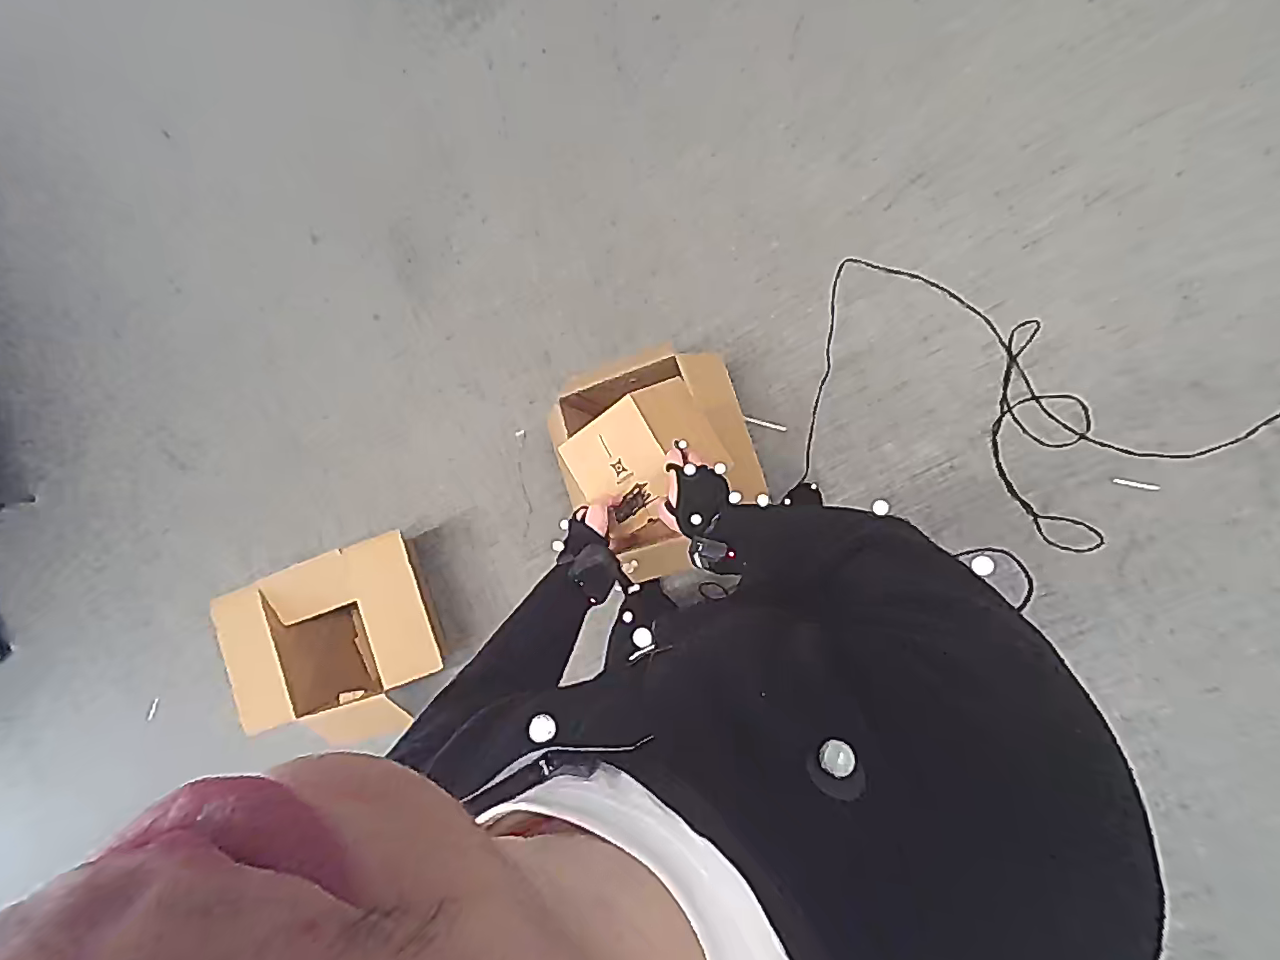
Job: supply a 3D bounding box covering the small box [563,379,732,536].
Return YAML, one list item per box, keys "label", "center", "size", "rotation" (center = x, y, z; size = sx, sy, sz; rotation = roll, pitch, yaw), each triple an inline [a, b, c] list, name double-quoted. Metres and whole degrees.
- label: "small box"
  center: [0.019, -0.042, 0.859]
  size: [0.168, 0.176, 0.179]
  rotation: [-31, 89, 34]
